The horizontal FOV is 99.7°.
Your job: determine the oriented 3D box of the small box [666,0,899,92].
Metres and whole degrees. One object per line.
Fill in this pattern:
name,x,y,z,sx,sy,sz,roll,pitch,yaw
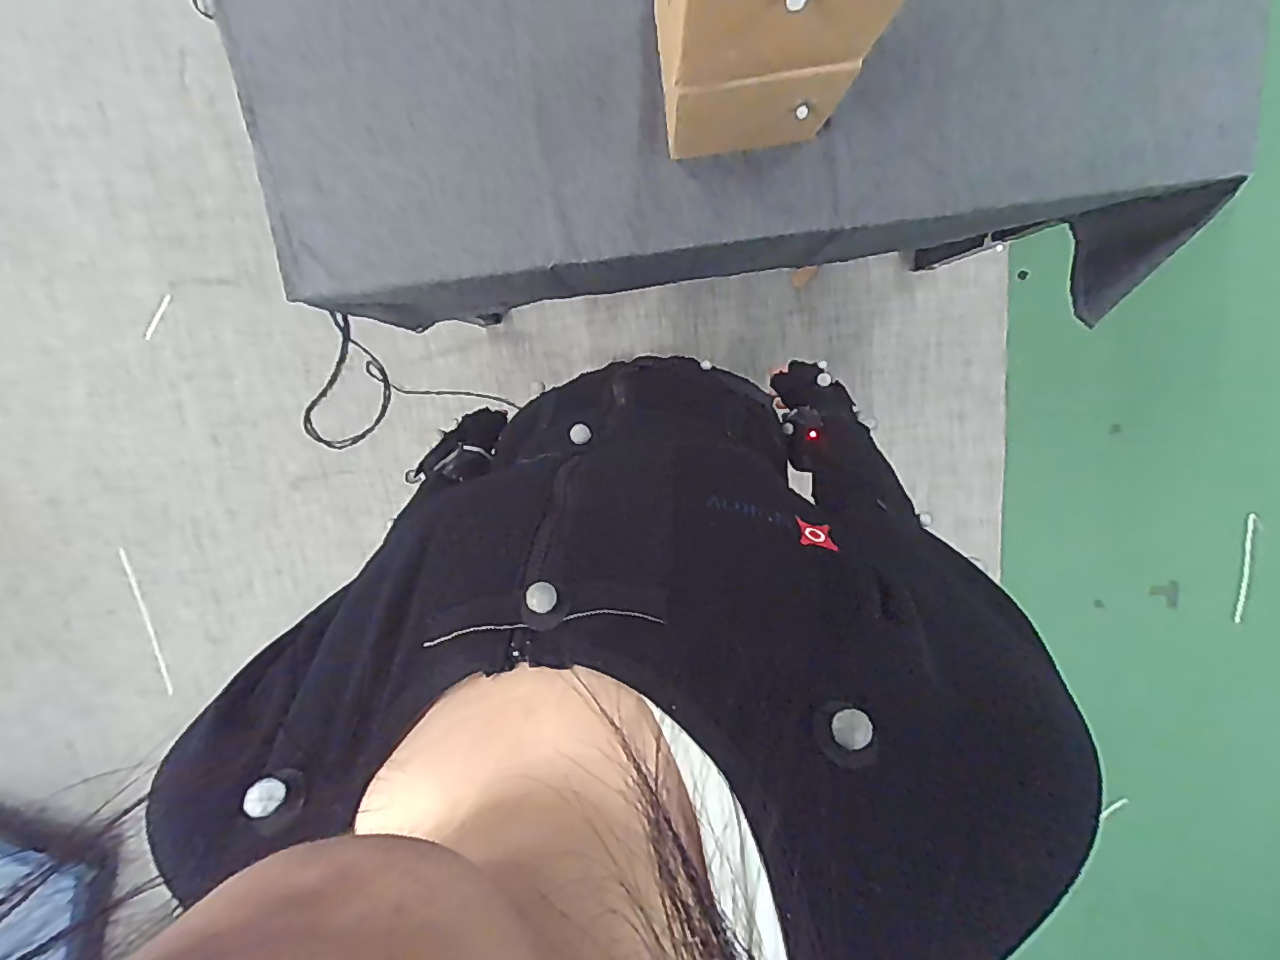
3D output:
small box,0.108,-0.437,0.412,0.179,0.176,0.168,-7,101,3
